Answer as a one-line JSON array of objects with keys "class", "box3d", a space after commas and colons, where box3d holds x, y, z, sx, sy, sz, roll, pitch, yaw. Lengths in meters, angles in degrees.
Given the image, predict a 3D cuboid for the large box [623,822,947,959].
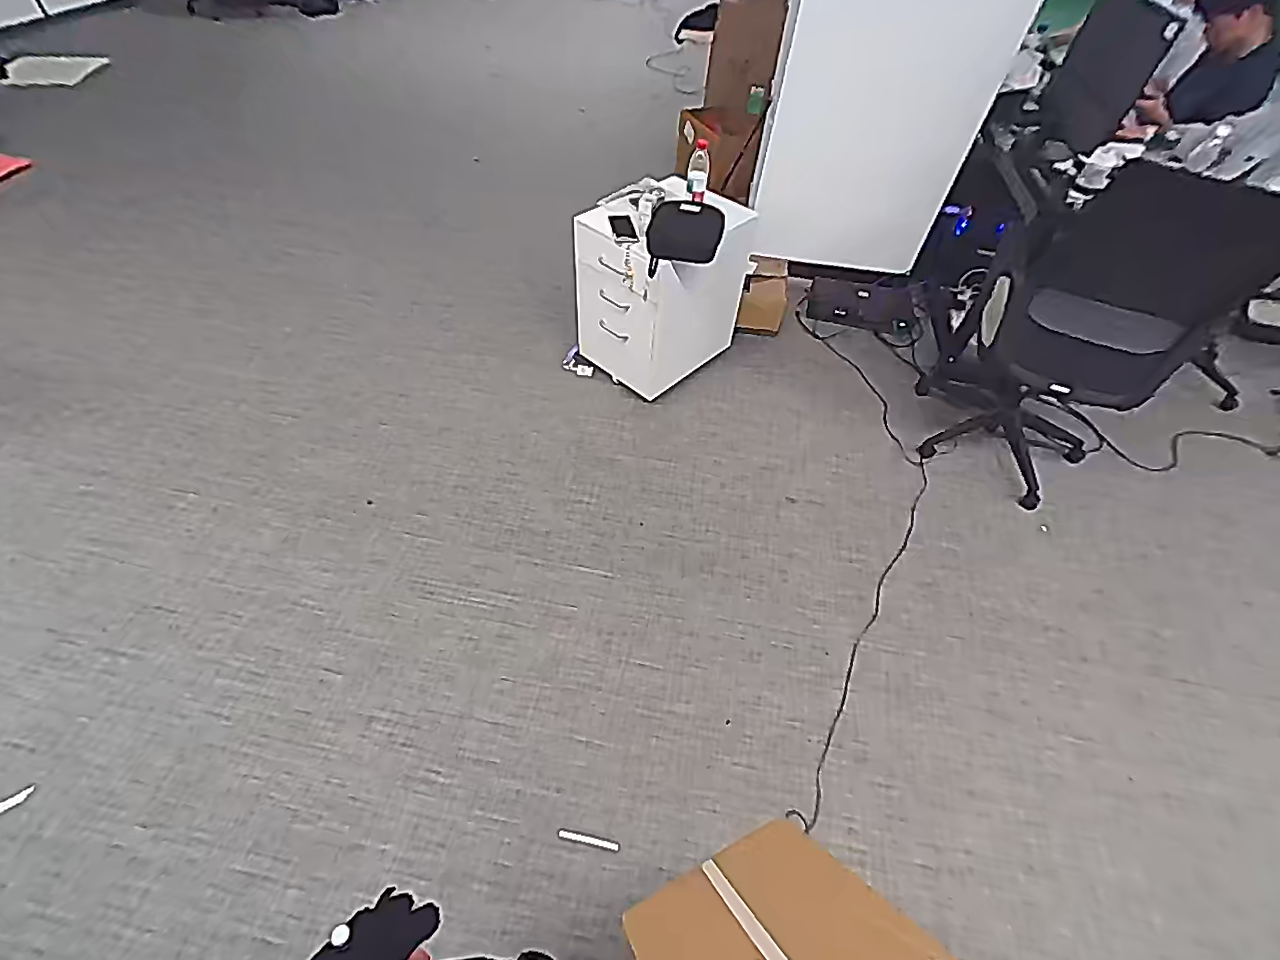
[{"class": "large box", "box3d": [0.210, 0.743, 0.694, 0.320, 0.408, 0.320, -21, 85, -17]}]
